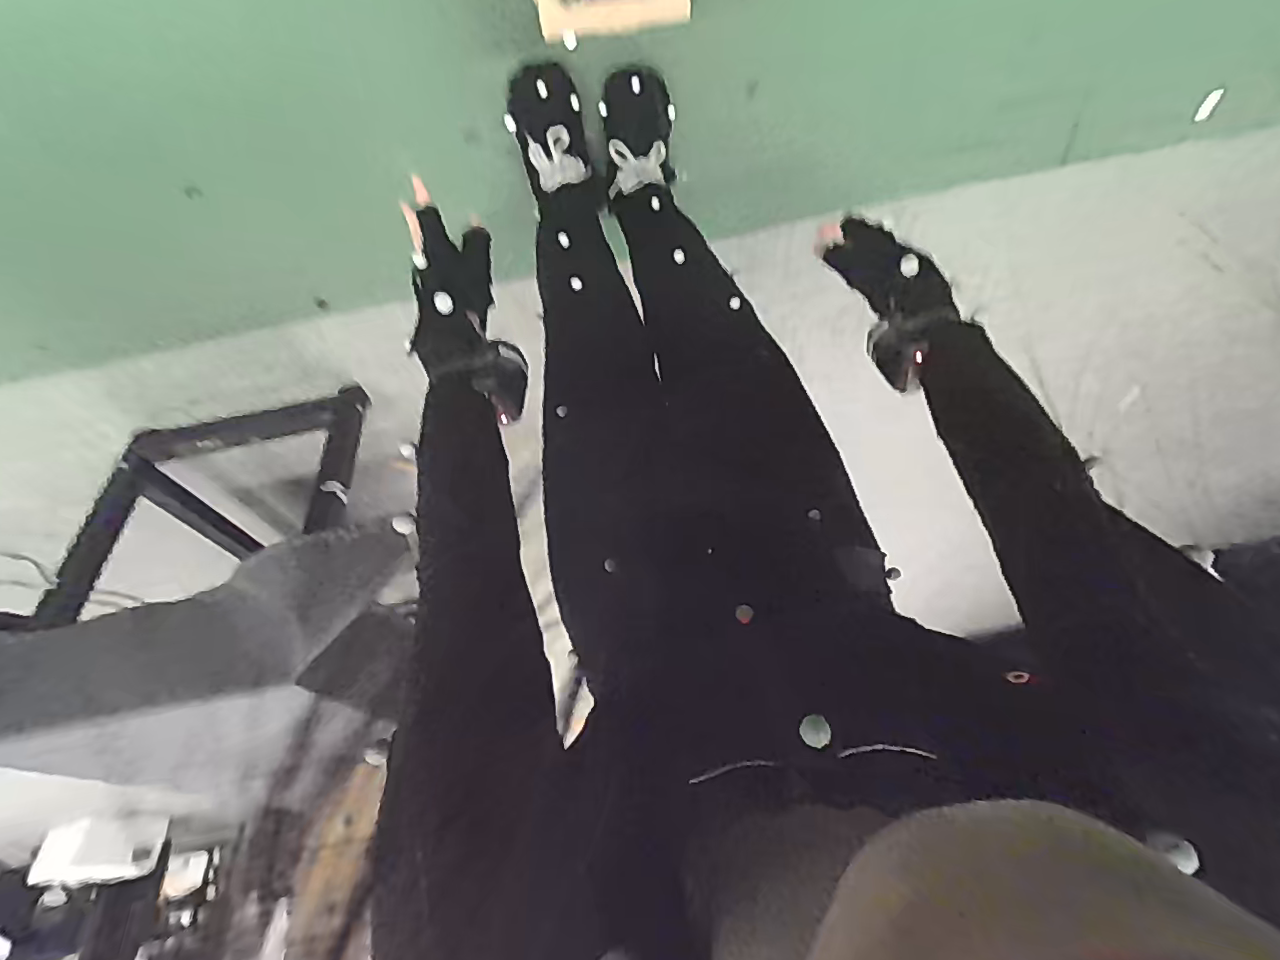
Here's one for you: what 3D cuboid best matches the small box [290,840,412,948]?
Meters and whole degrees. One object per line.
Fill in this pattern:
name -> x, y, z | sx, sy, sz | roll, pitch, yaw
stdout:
small box -> -0.644, 0.939, 1.230 | 0.179, 0.176, 0.168 | -12, 142, 1

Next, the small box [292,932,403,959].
small box -> -0.617, 1.064, 1.127 | 0.168, 0.176, 0.179 | -10, 142, 0

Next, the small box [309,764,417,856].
small box -> -0.668, 0.814, 1.331 | 0.179, 0.176, 0.168 | -11, 142, 2

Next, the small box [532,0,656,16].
small box -> -0.072, -0.737, 0.696 | 0.168, 0.176, 0.179 | -8, 142, -3
